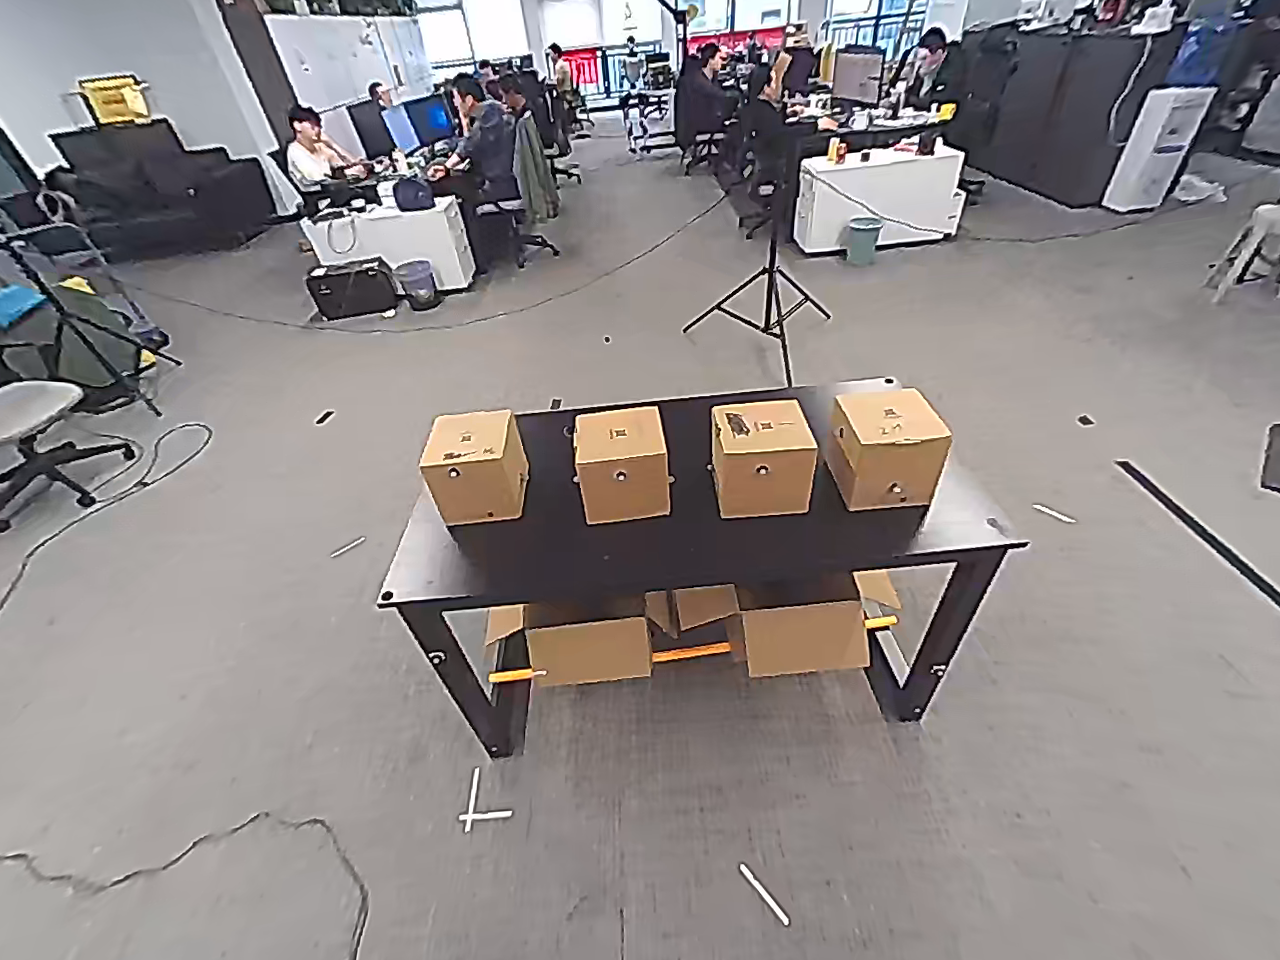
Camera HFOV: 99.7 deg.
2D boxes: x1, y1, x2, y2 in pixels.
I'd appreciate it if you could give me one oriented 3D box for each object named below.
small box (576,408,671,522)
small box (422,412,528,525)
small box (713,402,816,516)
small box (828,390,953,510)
[{"bbox_3d":[-0.034,-0.028,1.127,0.179,0.176,0.168,-7,41,-1],"label":"small box"},{"bbox_3d":[-0.343,-0.025,1.162,0.168,0.176,0.179,-6,40,0],"label":"small box"},{"bbox_3d":[0.244,-0.040,1.098,0.179,0.176,0.168,-4,40,3],"label":"small box"},{"bbox_3d":[0.489,-0.061,1.088,0.168,0.176,0.179,-6,40,4],"label":"small box"}]
